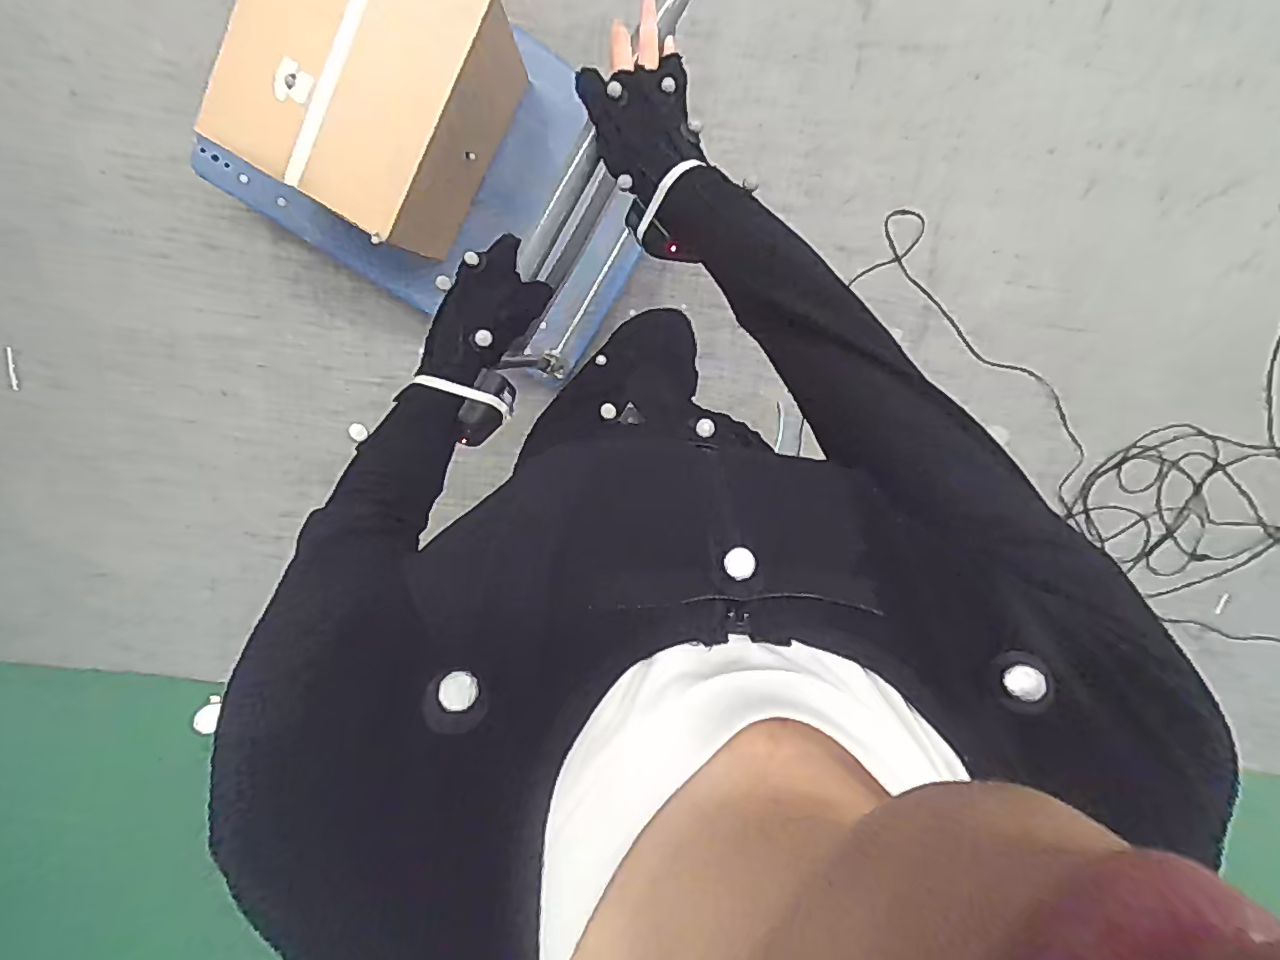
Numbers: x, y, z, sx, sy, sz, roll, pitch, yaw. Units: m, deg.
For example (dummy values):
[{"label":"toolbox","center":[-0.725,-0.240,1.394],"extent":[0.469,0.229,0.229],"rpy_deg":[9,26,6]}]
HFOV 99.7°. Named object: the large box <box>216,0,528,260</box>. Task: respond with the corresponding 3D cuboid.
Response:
[{"label":"large box","center":[-0.437,-0.667,0.960],"extent":[0.320,0.320,0.408],"rpy_deg":[29,103,-10]}]
